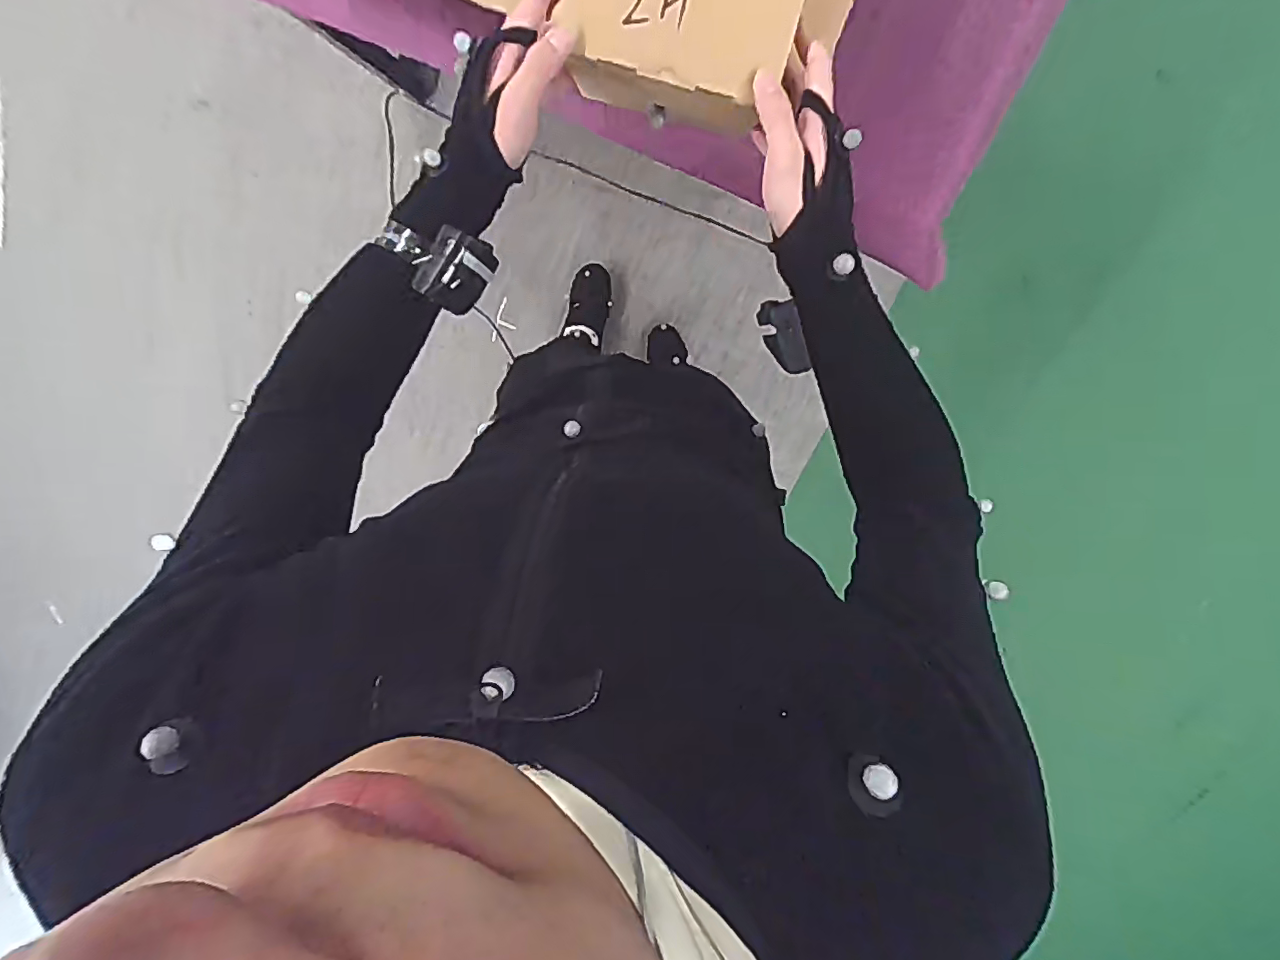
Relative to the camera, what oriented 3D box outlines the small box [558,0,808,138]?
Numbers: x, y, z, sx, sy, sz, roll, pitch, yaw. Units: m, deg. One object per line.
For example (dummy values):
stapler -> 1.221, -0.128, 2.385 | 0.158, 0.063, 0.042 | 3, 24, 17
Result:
small box -> 0.042, -0.398, 0.425 | 0.168, 0.176, 0.179 | 13, 116, -5
